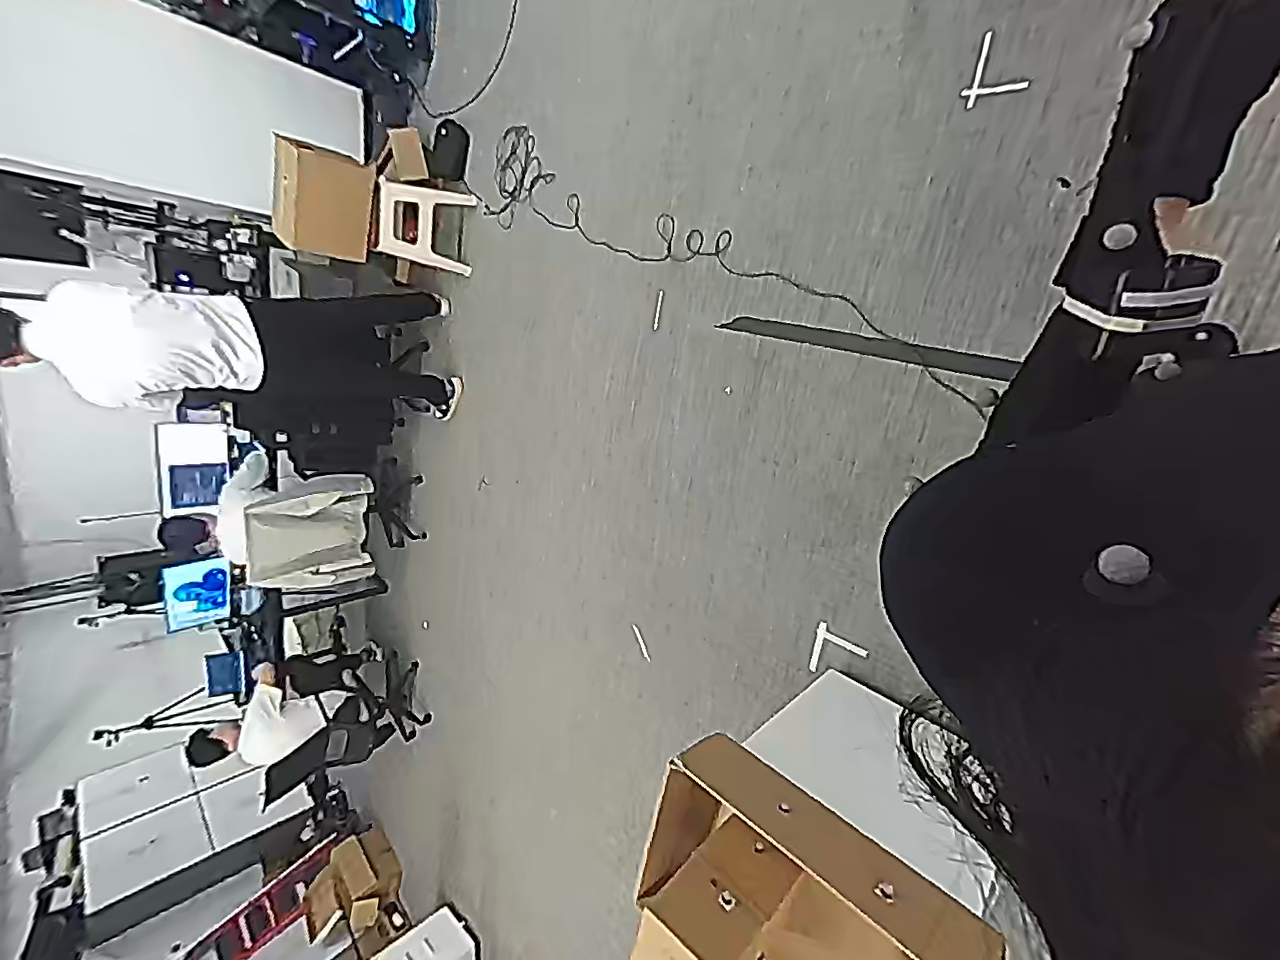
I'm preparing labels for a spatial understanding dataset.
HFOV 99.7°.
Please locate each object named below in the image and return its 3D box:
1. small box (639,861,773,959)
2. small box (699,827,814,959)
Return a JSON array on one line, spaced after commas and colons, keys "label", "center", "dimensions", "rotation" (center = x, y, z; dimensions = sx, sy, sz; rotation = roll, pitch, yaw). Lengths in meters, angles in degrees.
[{"label": "small box", "center": [0.116, 0.842, 0.960], "dimensions": [0.168, 0.176, 0.179], "rotation": [21, 104, 36]}, {"label": "small box", "center": [0.218, 0.844, 1.087], "dimensions": [0.179, 0.176, 0.168], "rotation": [22, 106, 38]}]
